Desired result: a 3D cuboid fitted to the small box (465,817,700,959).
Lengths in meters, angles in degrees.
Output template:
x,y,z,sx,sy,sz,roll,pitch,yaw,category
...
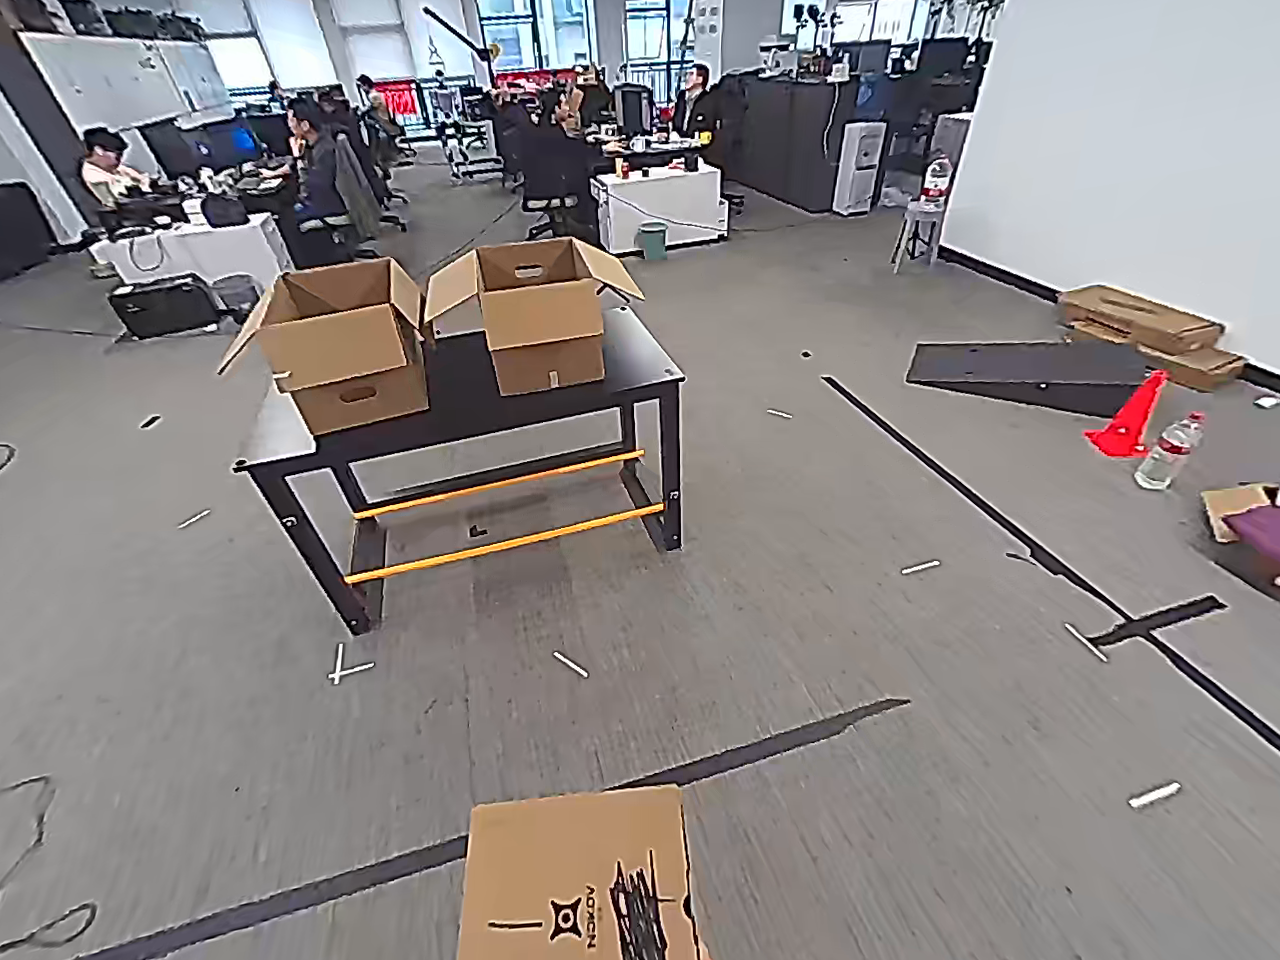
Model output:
x,y,z,sx,sy,sz,roll,pitch,yaw,category
-0.042,0.402,0.462,0.179,0.176,0.168,-5,48,-1,small box
